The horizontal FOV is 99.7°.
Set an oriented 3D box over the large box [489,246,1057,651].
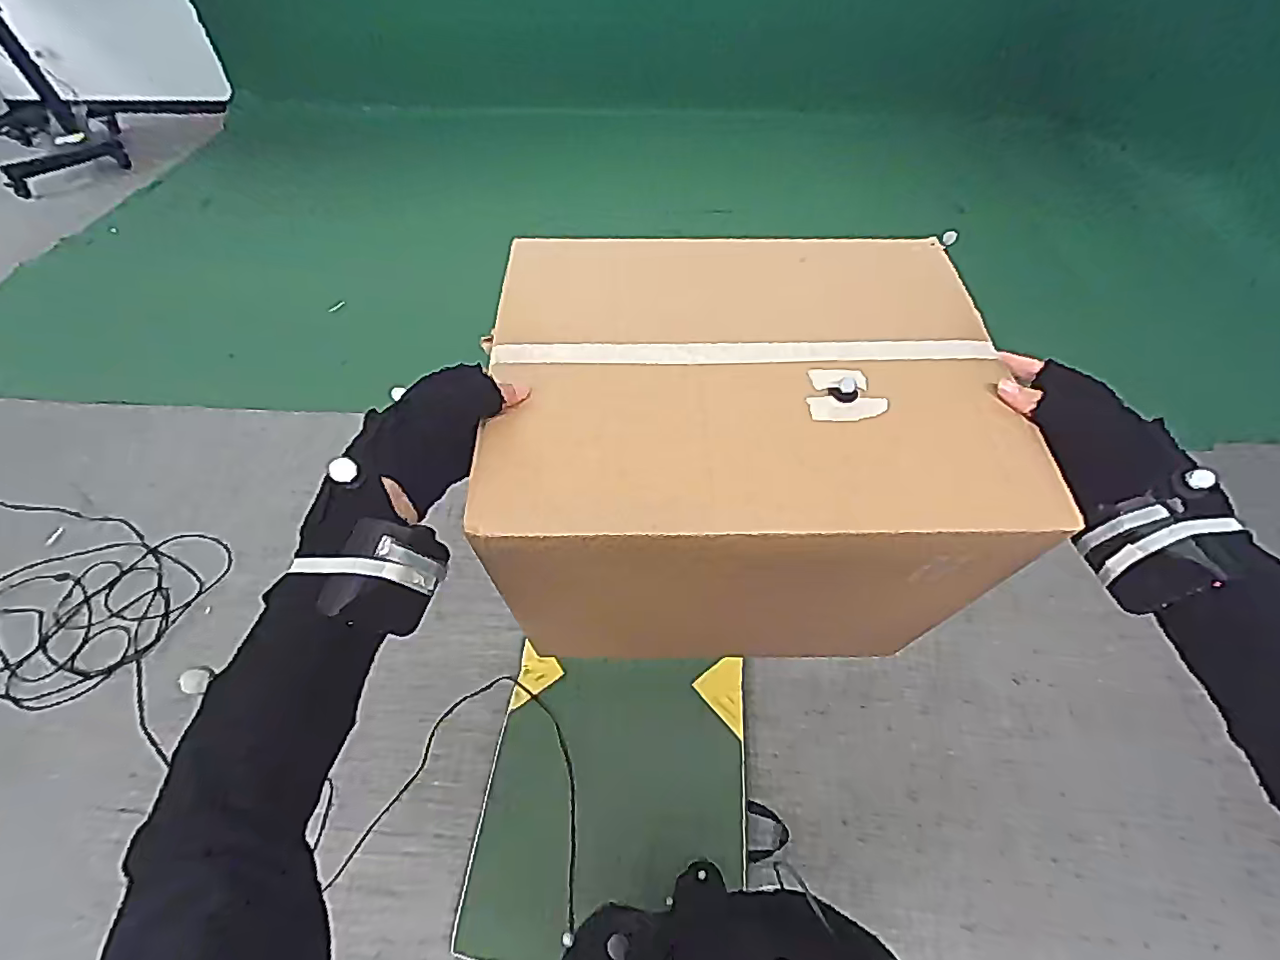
[{"bbox_3d":[0.084,-0.019,0.571,0.408,0.320,0.320,-1,58,-2],"label":"large box"}]
